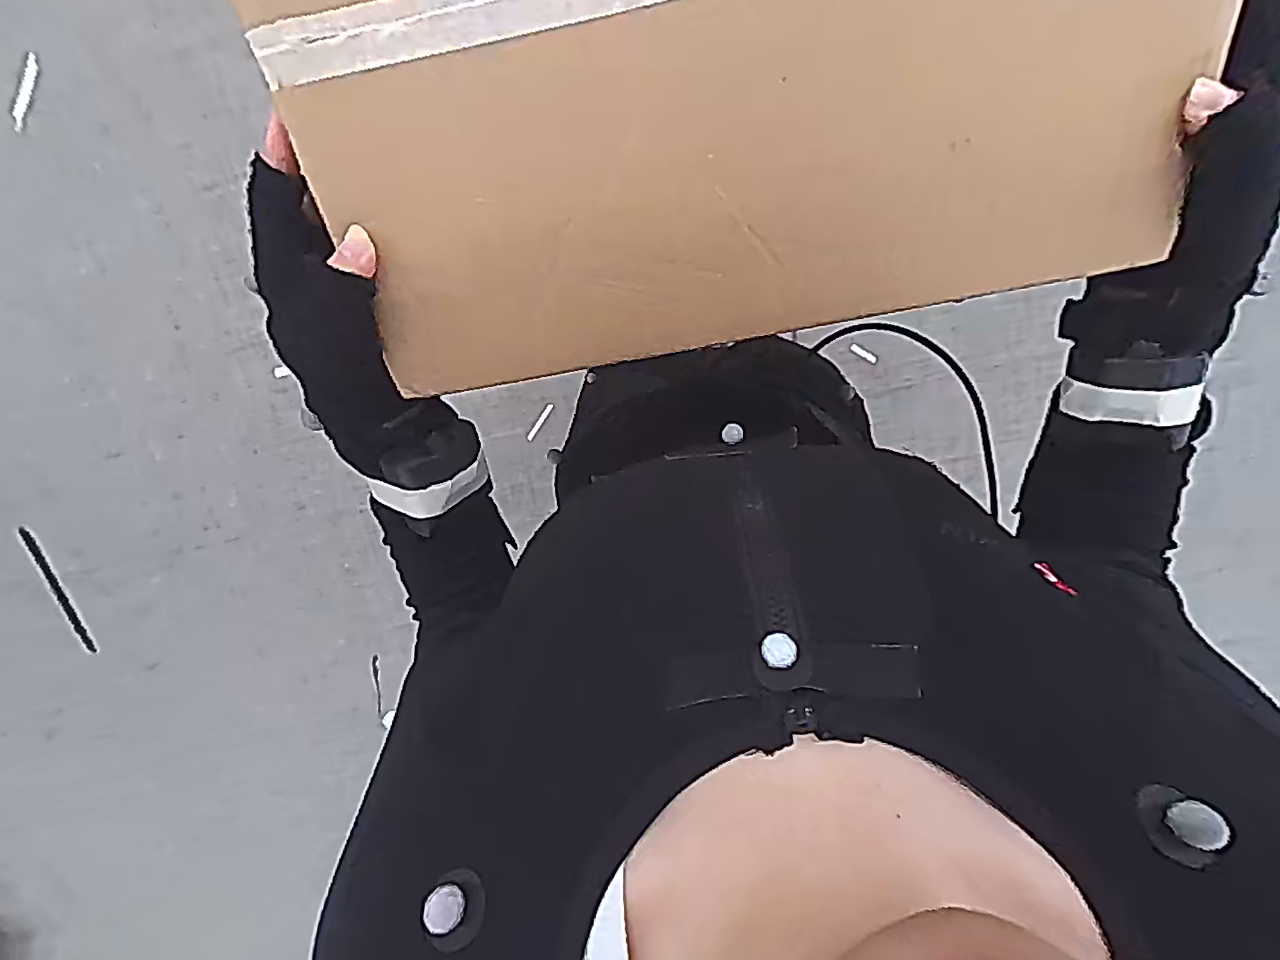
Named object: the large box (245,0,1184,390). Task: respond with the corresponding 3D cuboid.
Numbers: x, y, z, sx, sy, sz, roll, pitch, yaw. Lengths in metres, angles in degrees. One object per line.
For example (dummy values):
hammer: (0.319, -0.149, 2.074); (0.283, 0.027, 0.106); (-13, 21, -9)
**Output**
large box: (0.031, -0.290, 0.354); (0.408, 0.320, 0.320); (-10, 118, 5)
